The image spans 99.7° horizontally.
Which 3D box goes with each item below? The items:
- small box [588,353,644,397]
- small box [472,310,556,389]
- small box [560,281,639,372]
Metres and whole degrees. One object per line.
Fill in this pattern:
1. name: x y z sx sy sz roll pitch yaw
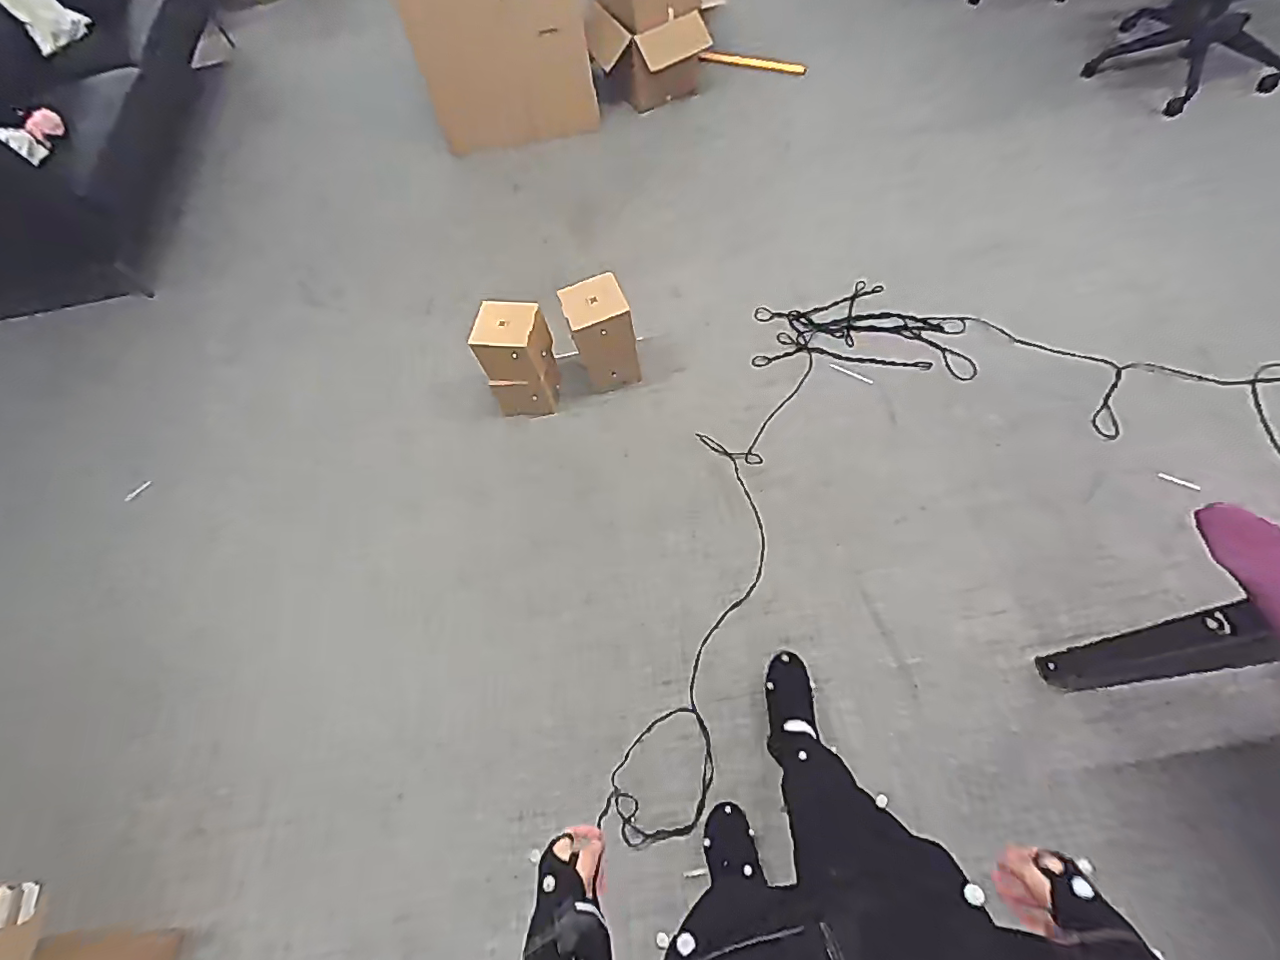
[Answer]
1. small box: -0.091 -0.393 1.768 0.168 0.176 0.179 -17 61 -1
2. small box: -0.371 -0.389 1.626 0.179 0.176 0.168 5 63 9
3. small box: -0.117 -0.454 1.618 0.179 0.176 0.168 -21 63 -2
